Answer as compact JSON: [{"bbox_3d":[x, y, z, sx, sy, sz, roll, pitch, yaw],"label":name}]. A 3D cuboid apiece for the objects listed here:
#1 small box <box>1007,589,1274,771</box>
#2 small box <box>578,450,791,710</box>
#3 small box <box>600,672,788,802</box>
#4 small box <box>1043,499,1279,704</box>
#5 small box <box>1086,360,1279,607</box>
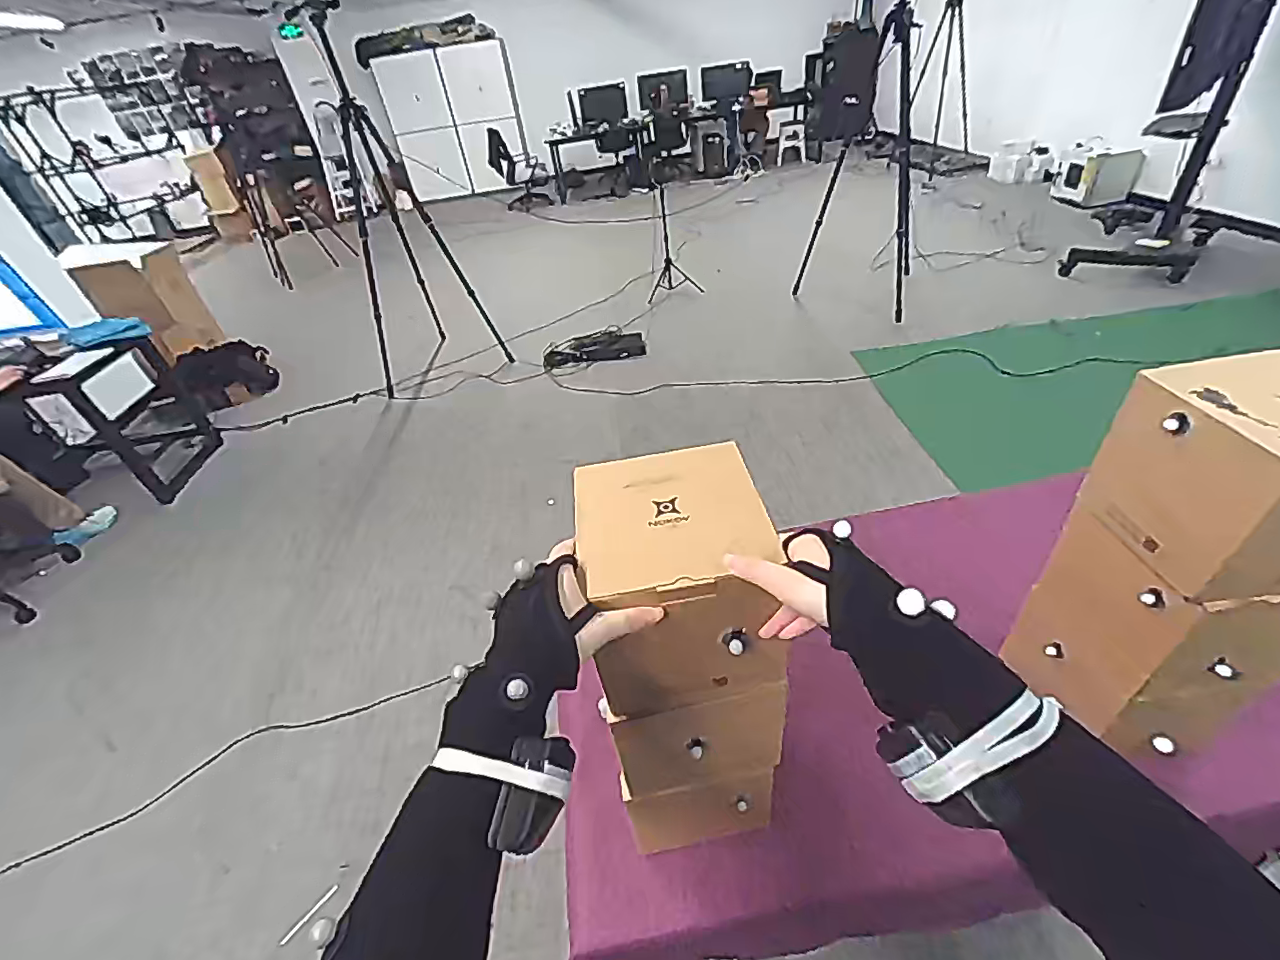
[{"bbox_3d":[0.638,0.256,0.725,0.168,0.176,0.179,-9,38,1],"label":"small box"},{"bbox_3d":[0.037,0.098,0.519,0.168,0.176,0.179,-9,38,-1],"label":"small box"},{"bbox_3d":[0.052,0.231,0.612,0.179,0.176,0.168,-12,38,-3],"label":"small box"},{"bbox_3d":[0.620,0.128,0.625,0.168,0.176,0.179,-9,39,1],"label":"small box"},{"bbox_3d":[0.597,0.002,0.522,0.179,0.176,0.168,-7,38,2],"label":"small box"}]
